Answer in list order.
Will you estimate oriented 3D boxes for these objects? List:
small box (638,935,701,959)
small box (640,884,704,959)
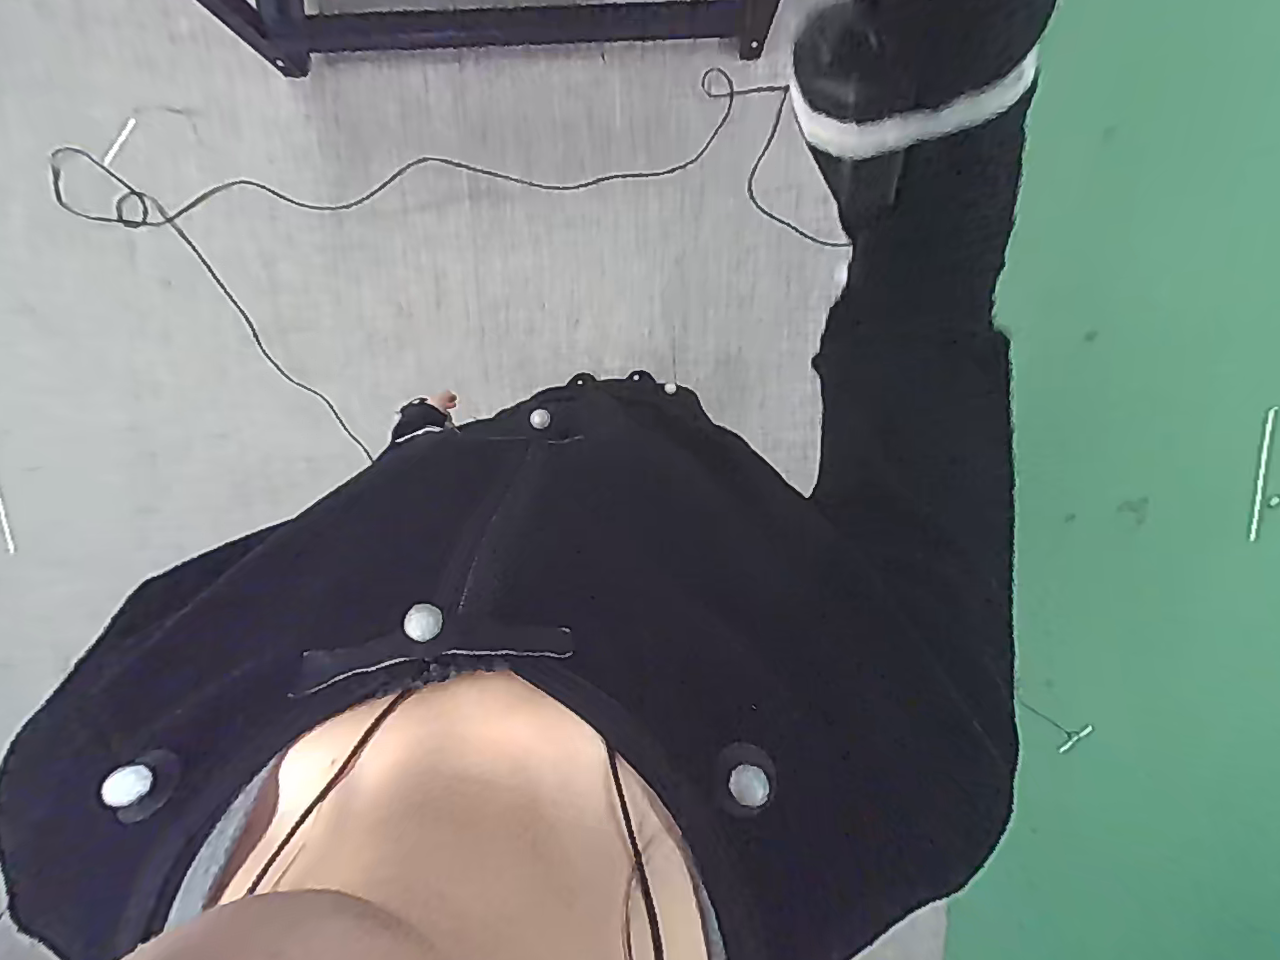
[{"bbox_3d":[0.091,1.403,1.488,0.179,0.176,0.168,-7,99,1],"label":"small box"},{"bbox_3d":[0.097,1.381,1.651,0.179,0.176,0.168,-7,100,0],"label":"small box"}]
